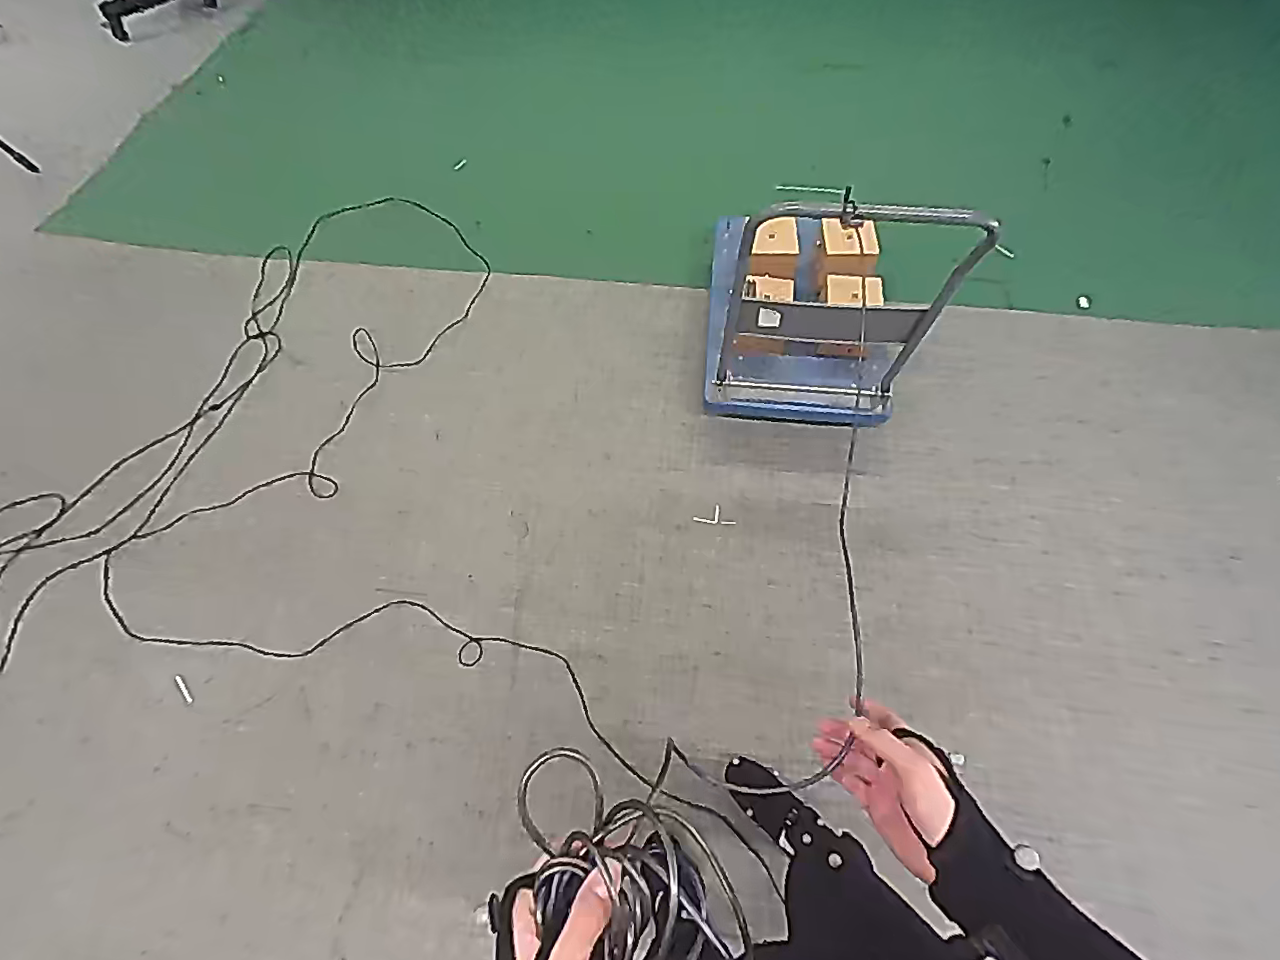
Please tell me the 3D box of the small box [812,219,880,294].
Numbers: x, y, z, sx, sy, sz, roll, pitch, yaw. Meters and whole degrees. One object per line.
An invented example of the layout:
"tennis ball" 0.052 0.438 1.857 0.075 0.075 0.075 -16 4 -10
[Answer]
"small box" 0.686 -0.750 1.818 0.168 0.176 0.179 1 64 4

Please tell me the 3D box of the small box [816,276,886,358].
"small box" 0.655 -0.511 1.697 0.168 0.176 0.179 6 64 5

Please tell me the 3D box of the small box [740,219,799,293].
"small box" 0.435 -0.755 1.832 0.168 0.176 0.179 2 63 3
